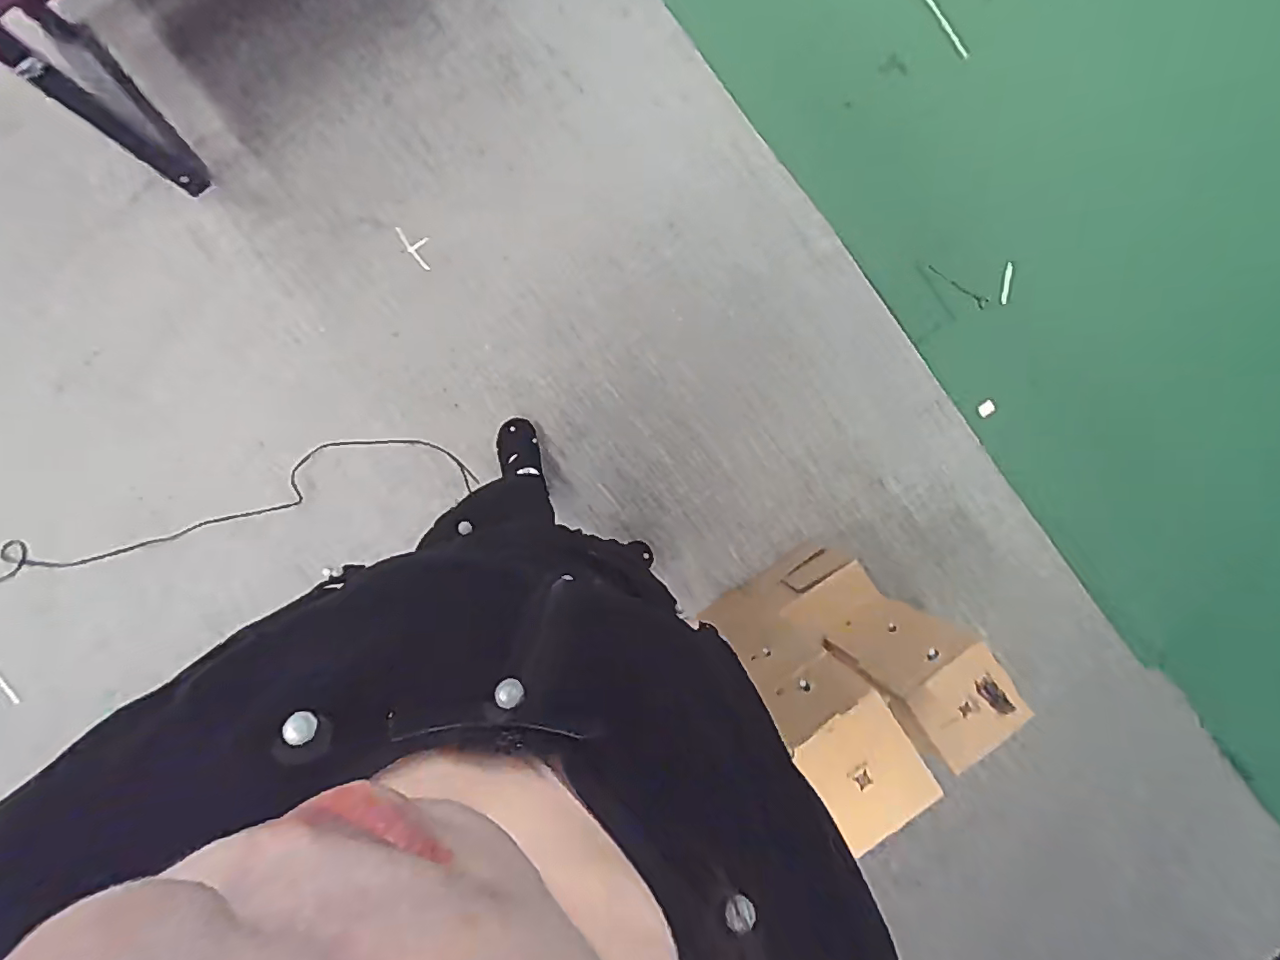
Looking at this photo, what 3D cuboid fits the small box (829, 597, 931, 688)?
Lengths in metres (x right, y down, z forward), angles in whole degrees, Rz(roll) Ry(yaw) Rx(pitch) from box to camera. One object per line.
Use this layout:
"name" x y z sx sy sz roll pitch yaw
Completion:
"small box" 0.544 0.379 1.157 0.168 0.176 0.179 -34 94 -4

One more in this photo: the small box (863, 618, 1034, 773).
"small box" 0.551 0.379 0.990 0.179 0.176 0.168 -35 93 -5

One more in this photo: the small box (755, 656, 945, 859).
"small box" 0.300 0.397 0.809 0.168 0.176 0.179 -34 92 -3
